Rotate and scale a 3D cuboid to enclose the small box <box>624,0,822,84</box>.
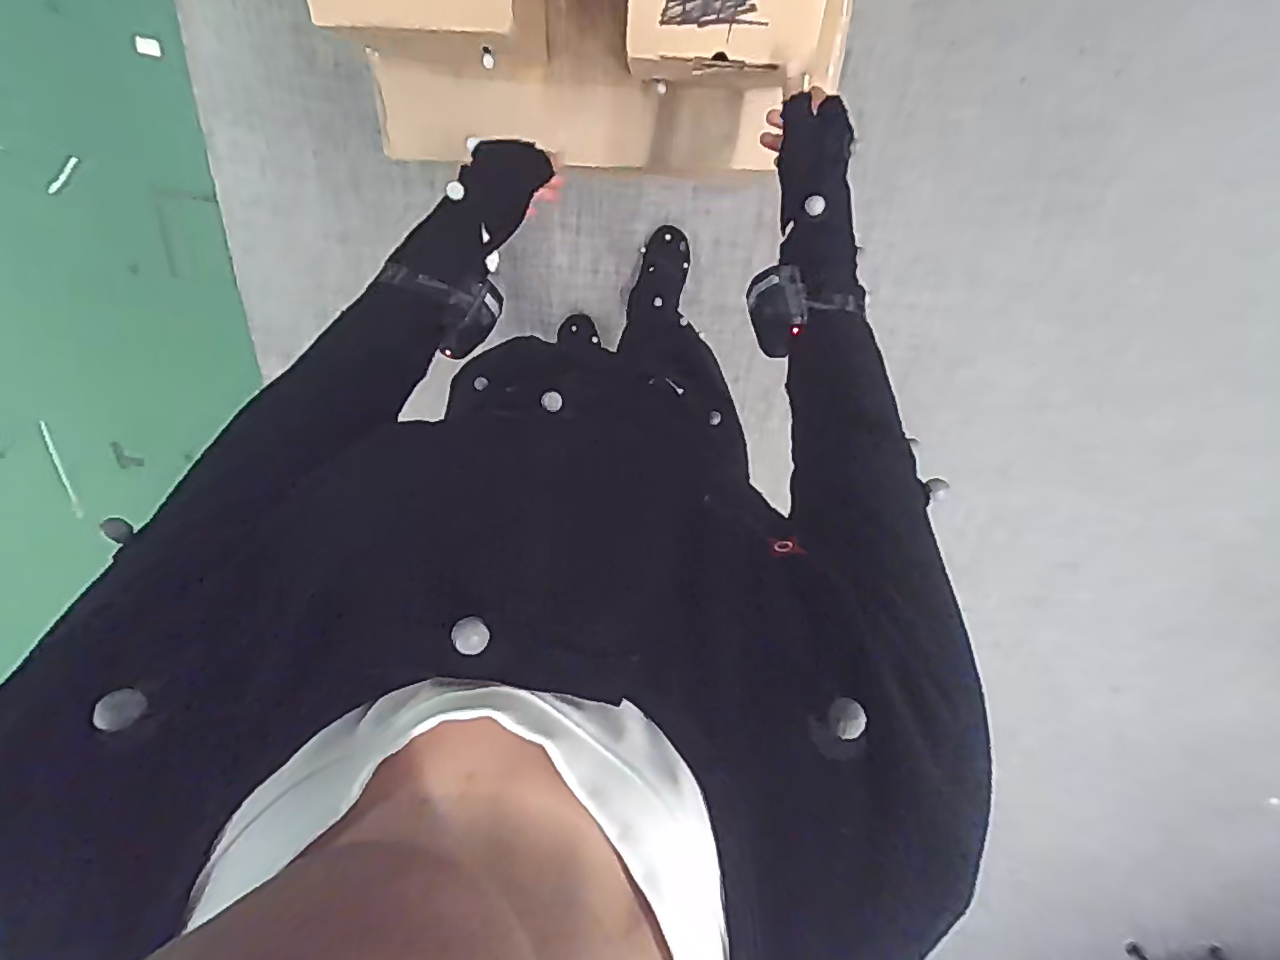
[{"bbox_3d":[0.078,-0.481,0.494,0.168,0.176,0.179,5,120,-1],"label":"small box"}]

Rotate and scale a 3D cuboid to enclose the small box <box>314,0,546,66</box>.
[{"bbox_3d":[-0.187,-0.500,0.499,0.179,0.176,0.168,3,119,2],"label":"small box"}]
